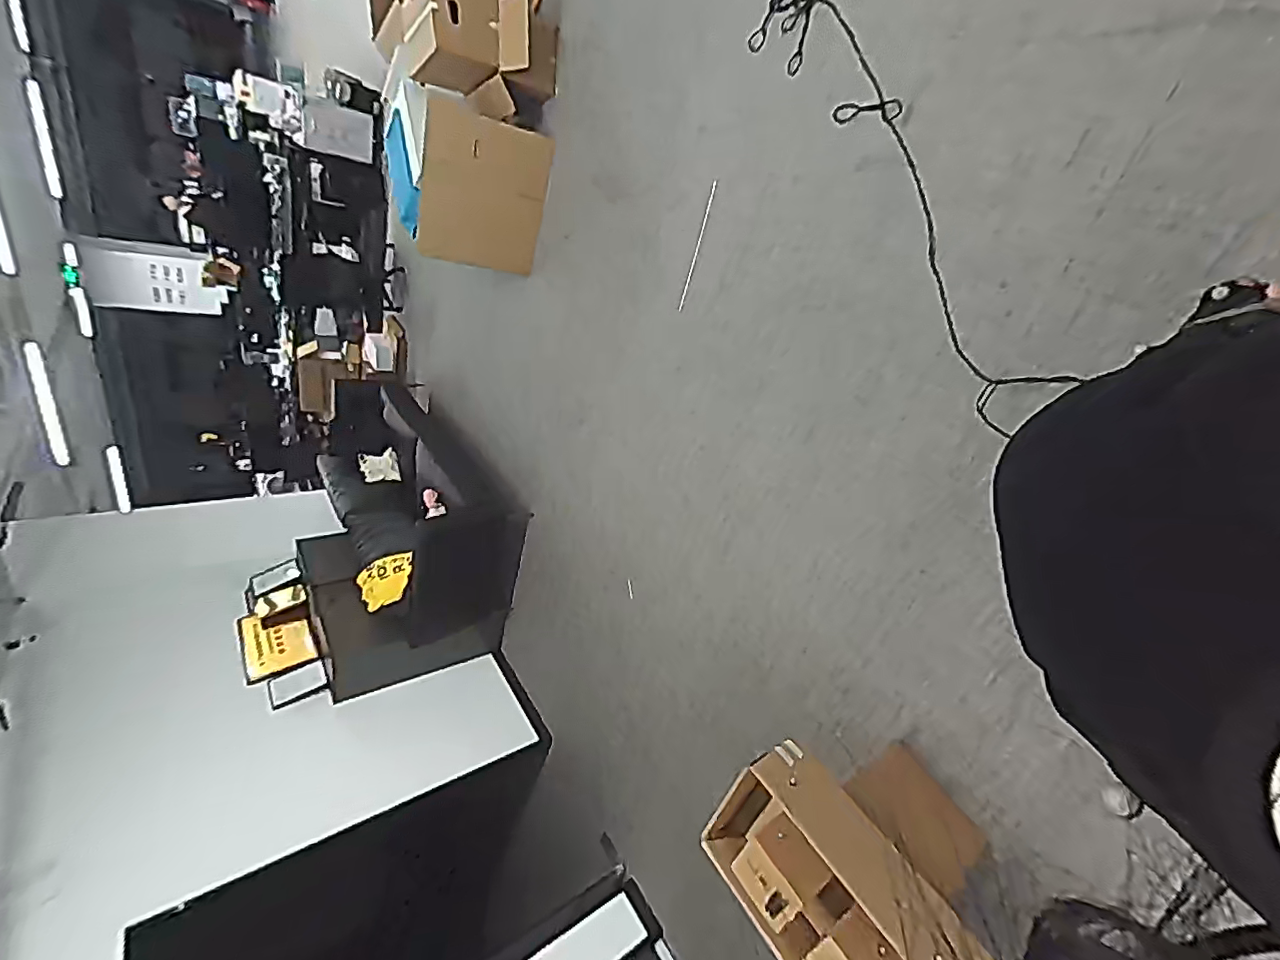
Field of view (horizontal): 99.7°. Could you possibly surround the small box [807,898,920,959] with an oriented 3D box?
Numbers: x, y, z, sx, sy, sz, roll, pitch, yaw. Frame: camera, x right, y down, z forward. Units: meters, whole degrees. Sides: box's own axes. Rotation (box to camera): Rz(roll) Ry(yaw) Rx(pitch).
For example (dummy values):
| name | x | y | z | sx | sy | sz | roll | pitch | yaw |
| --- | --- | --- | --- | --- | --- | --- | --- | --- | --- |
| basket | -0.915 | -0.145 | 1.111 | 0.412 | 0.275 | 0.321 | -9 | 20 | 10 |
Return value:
| name | x | y | z | sx | sy | sz | roll | pitch | yaw |
| --- | --- | --- | --- | --- | --- | --- | --- | --- | --- |
| small box | 0.517 | 1.116 | 1.239 | 0.168 | 0.176 | 0.179 | 45 | 128 | 39 |
